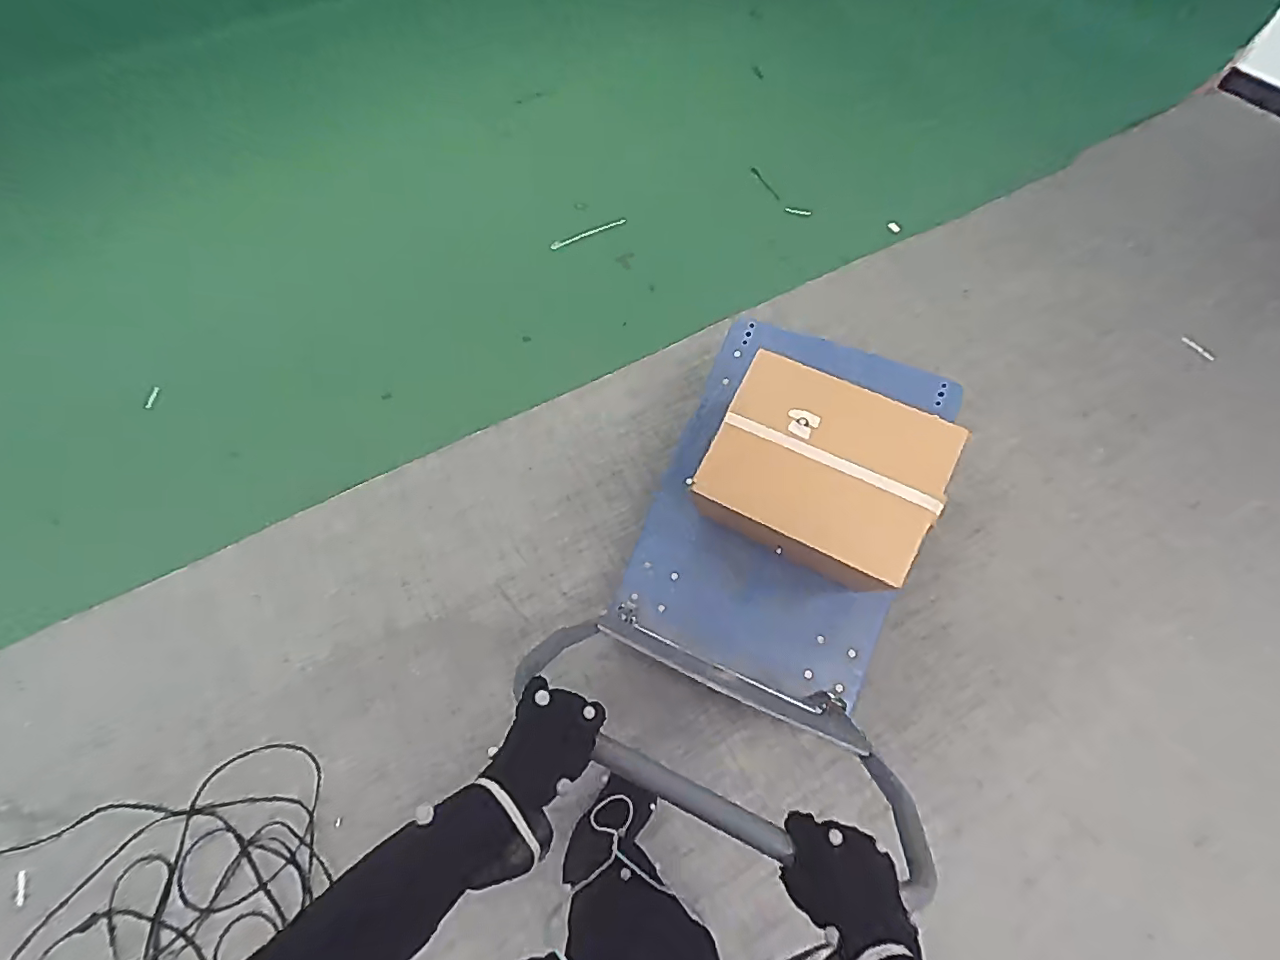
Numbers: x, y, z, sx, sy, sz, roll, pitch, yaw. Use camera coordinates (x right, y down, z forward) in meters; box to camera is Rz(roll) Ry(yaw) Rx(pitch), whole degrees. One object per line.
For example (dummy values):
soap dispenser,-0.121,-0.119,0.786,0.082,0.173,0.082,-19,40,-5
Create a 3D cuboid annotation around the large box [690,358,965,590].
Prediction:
large box,0.364,0.006,1.127,0.408,0.320,0.320,26,83,15
